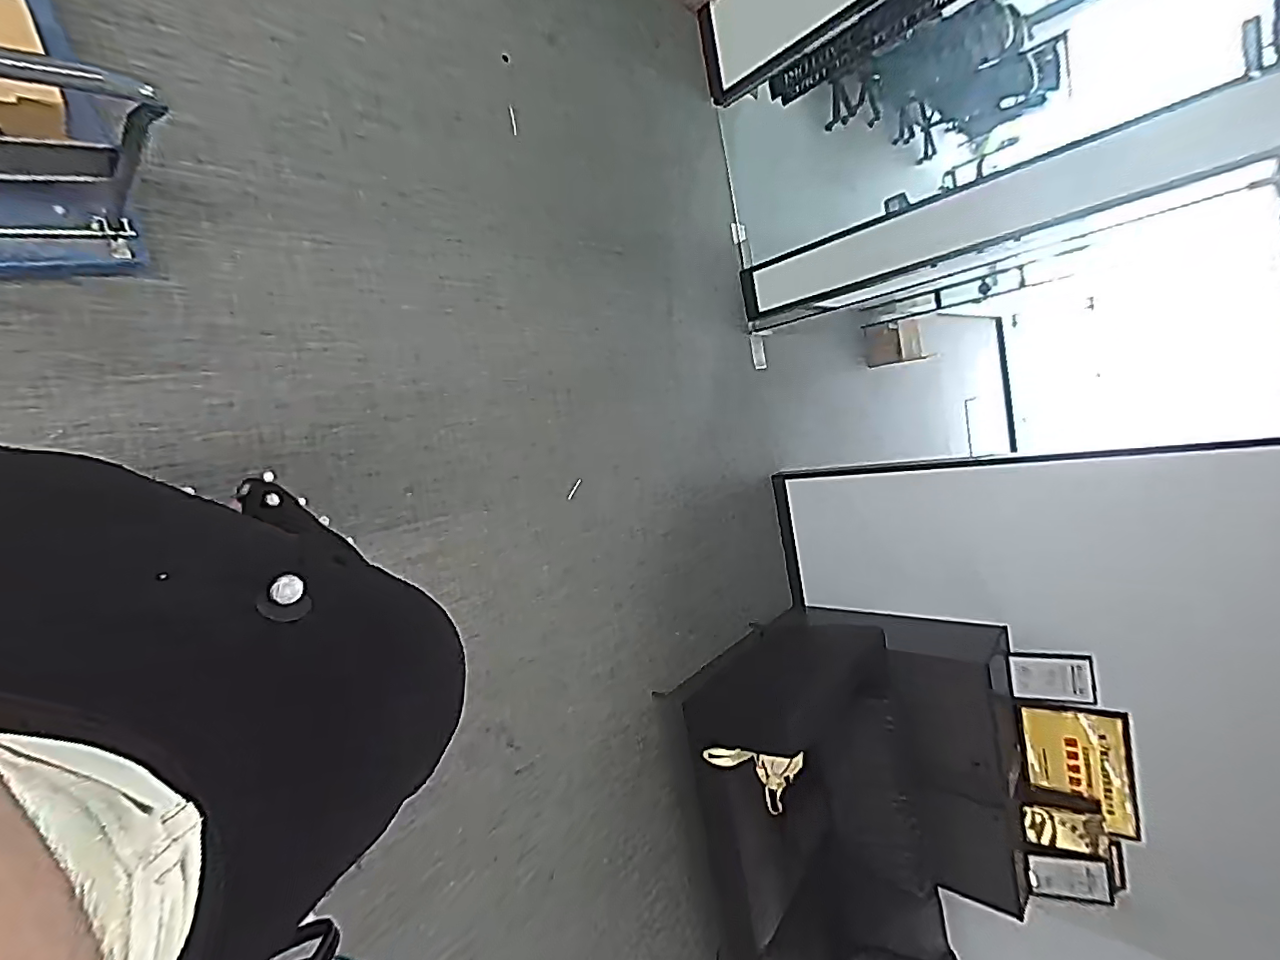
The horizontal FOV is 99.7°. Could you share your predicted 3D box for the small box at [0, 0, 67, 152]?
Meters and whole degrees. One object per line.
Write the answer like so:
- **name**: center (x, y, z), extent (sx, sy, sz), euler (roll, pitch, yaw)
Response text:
- **small box**: center (-1.144, -0.709, 0.938), extent (0.168, 0.176, 0.179), euler (-24, 105, -44)
